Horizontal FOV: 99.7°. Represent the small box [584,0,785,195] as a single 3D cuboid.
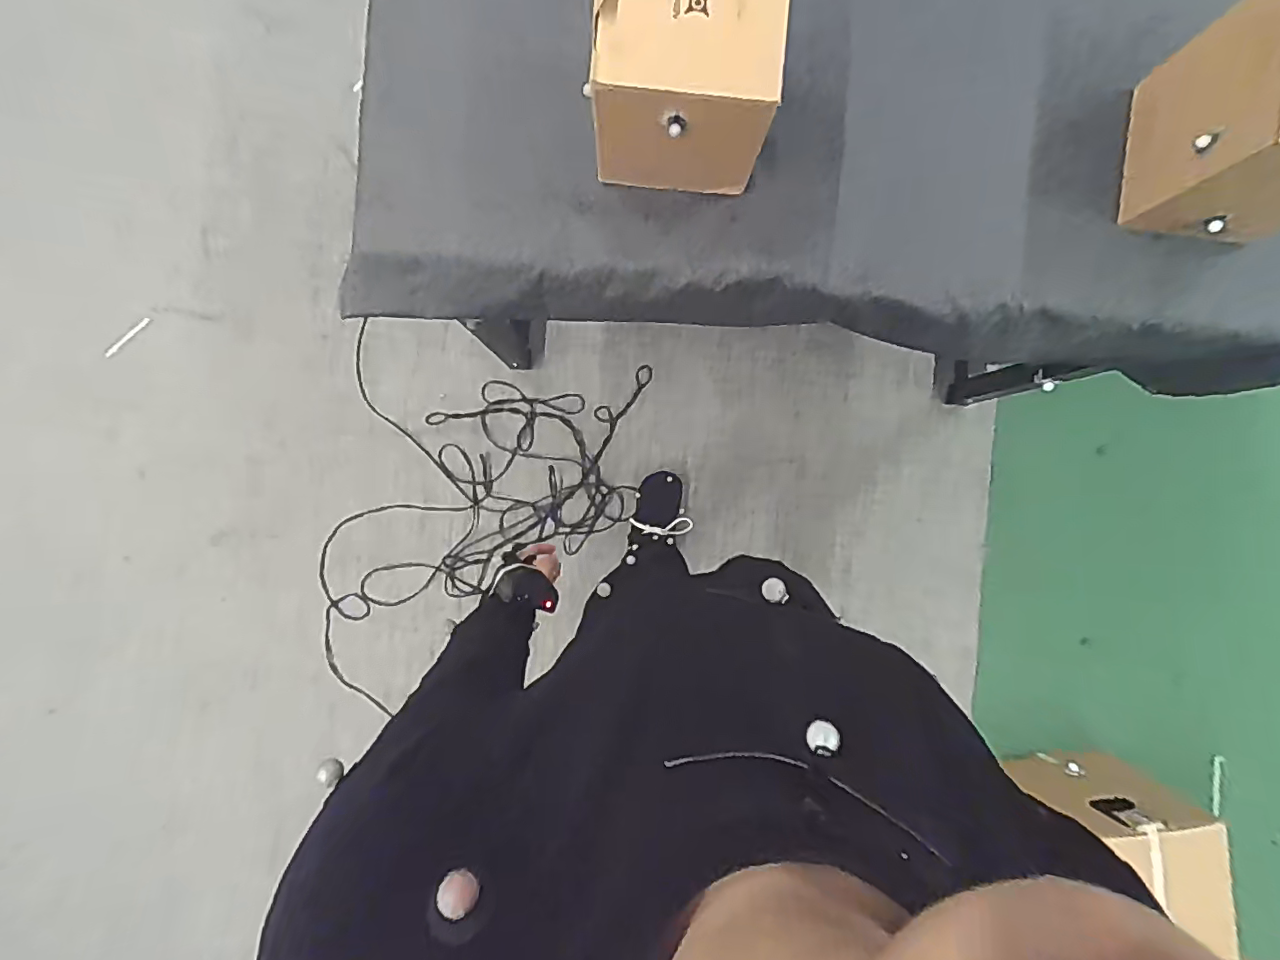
[{"bbox_3d":[0.041,-0.424,0.563,0.179,0.176,0.168,5,90,-3],"label":"small box"}]
